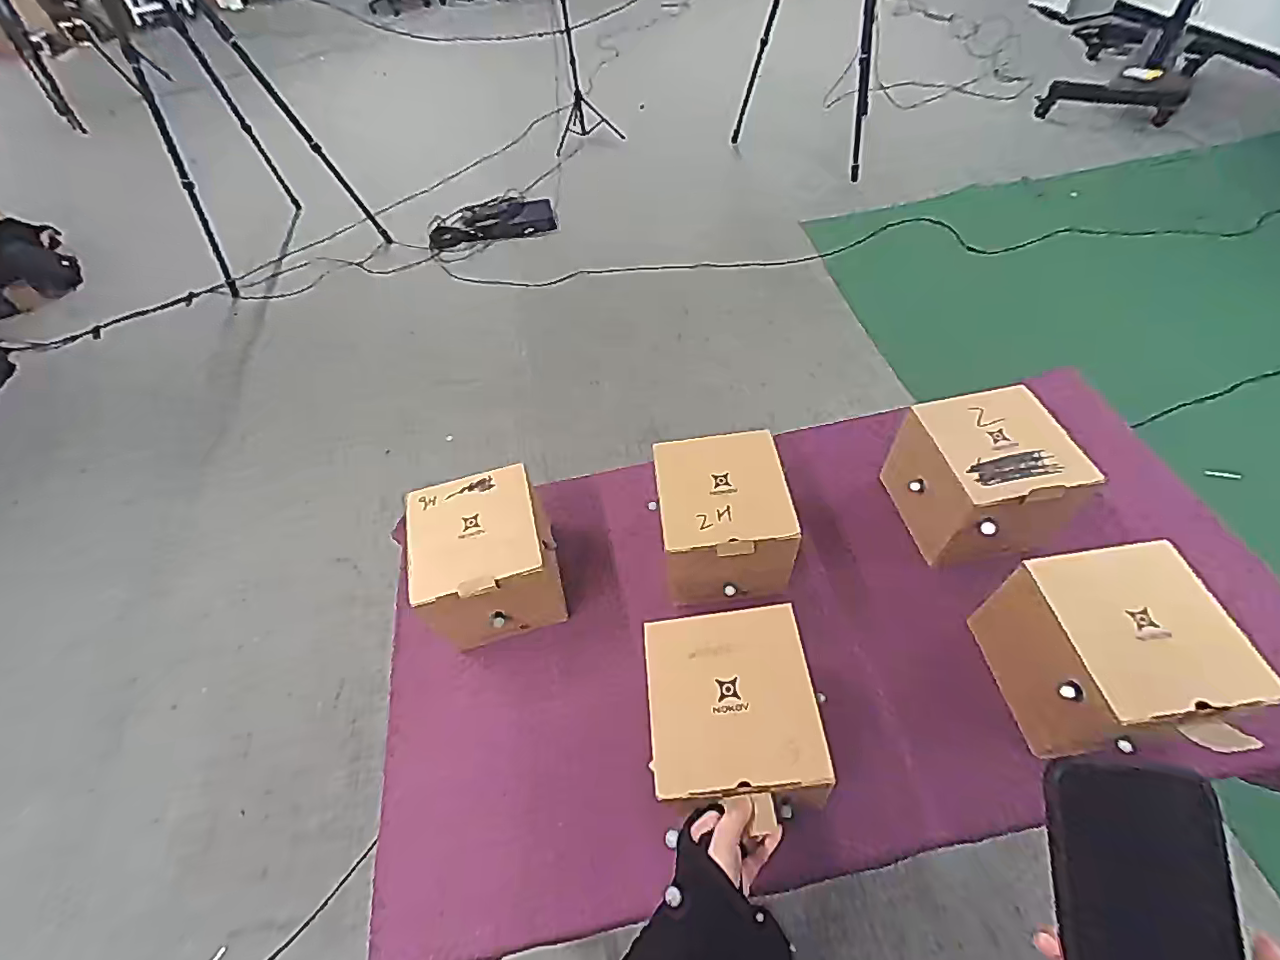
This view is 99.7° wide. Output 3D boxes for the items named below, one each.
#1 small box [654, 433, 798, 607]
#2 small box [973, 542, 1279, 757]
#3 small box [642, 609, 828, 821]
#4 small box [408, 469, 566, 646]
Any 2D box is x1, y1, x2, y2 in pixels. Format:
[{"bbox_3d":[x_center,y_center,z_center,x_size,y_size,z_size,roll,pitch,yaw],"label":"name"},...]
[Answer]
[{"bbox_3d":[0.112,0.060,0.765,0.168,0.176,0.179,-7,54,2],"label":"small box"},{"bbox_3d":[0.521,0.195,0.614,0.168,0.176,0.179,-9,53,1],"label":"small box"},{"bbox_3d":[0.101,0.268,0.602,0.168,0.176,0.179,-9,50,6],"label":"small box"},{"bbox_3d":[-0.210,0.117,0.763,0.168,0.176,0.179,-16,54,-5],"label":"small box"}]
